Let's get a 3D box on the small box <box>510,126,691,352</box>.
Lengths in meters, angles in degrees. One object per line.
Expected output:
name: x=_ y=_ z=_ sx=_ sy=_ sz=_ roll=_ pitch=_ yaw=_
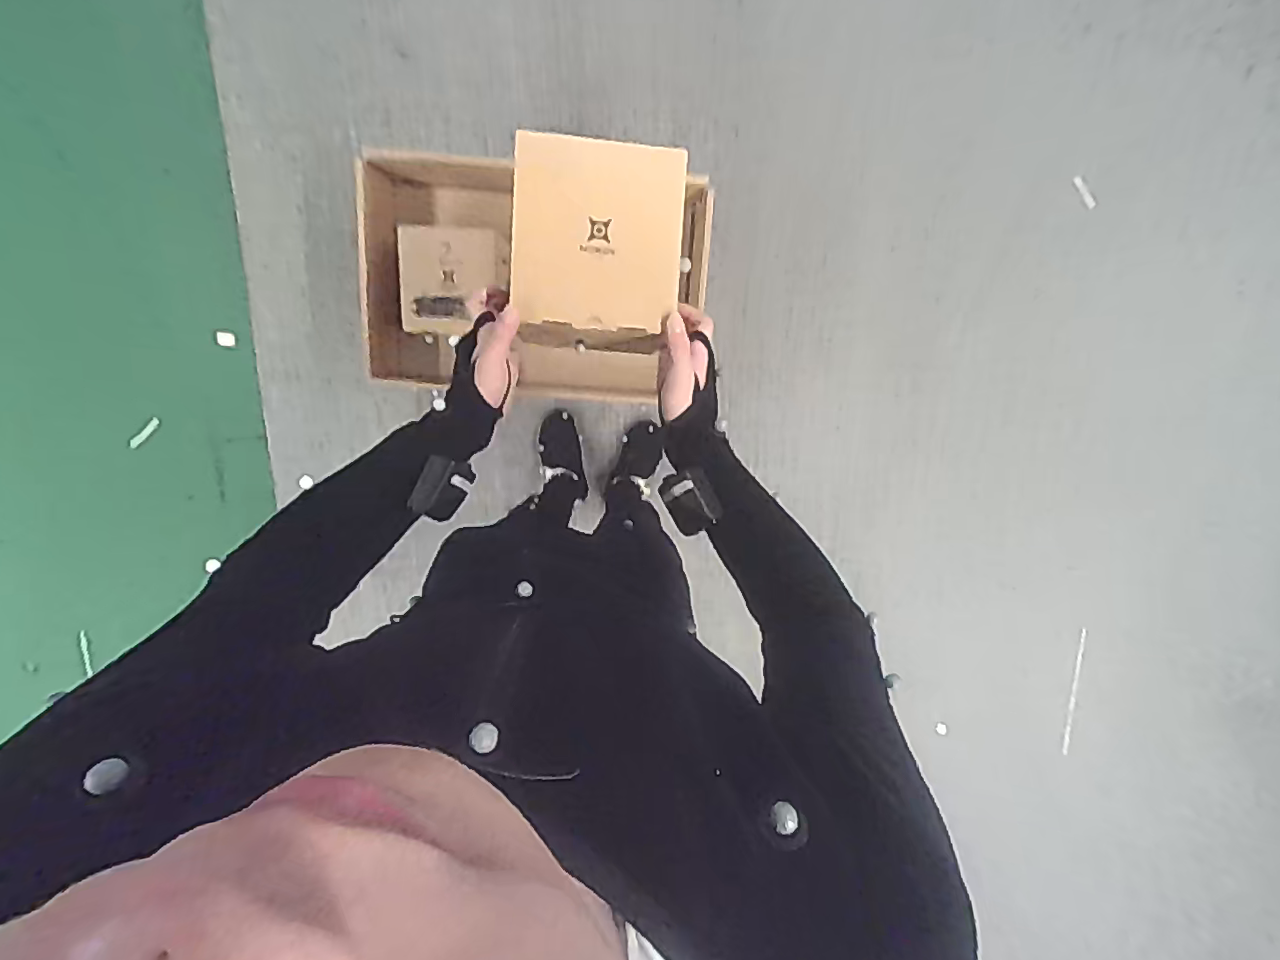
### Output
small box: x=-0.047 y=-0.241 z=0.587 sx=0.168 sy=0.176 sz=0.179 roll=2 pitch=97 yaw=-7
